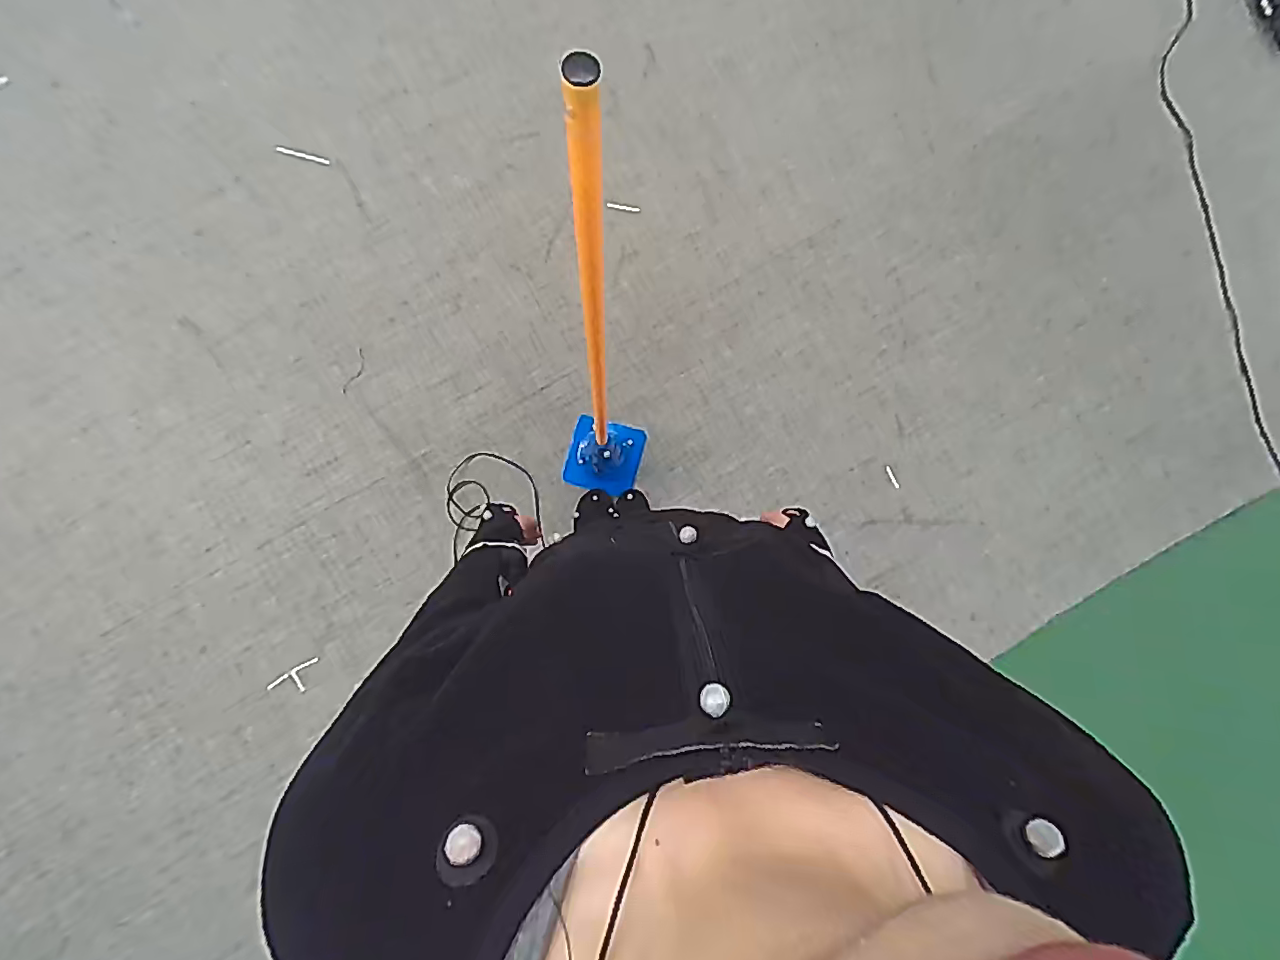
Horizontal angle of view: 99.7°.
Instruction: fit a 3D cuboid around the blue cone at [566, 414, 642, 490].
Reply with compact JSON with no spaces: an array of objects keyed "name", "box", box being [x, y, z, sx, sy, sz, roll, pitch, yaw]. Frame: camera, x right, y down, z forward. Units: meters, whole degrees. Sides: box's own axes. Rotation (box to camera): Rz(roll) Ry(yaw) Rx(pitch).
[{"name":"blue cone","box":[-0.088,-0.089,1.320,0.192,0.380,0.193,14,85,-2]}]
